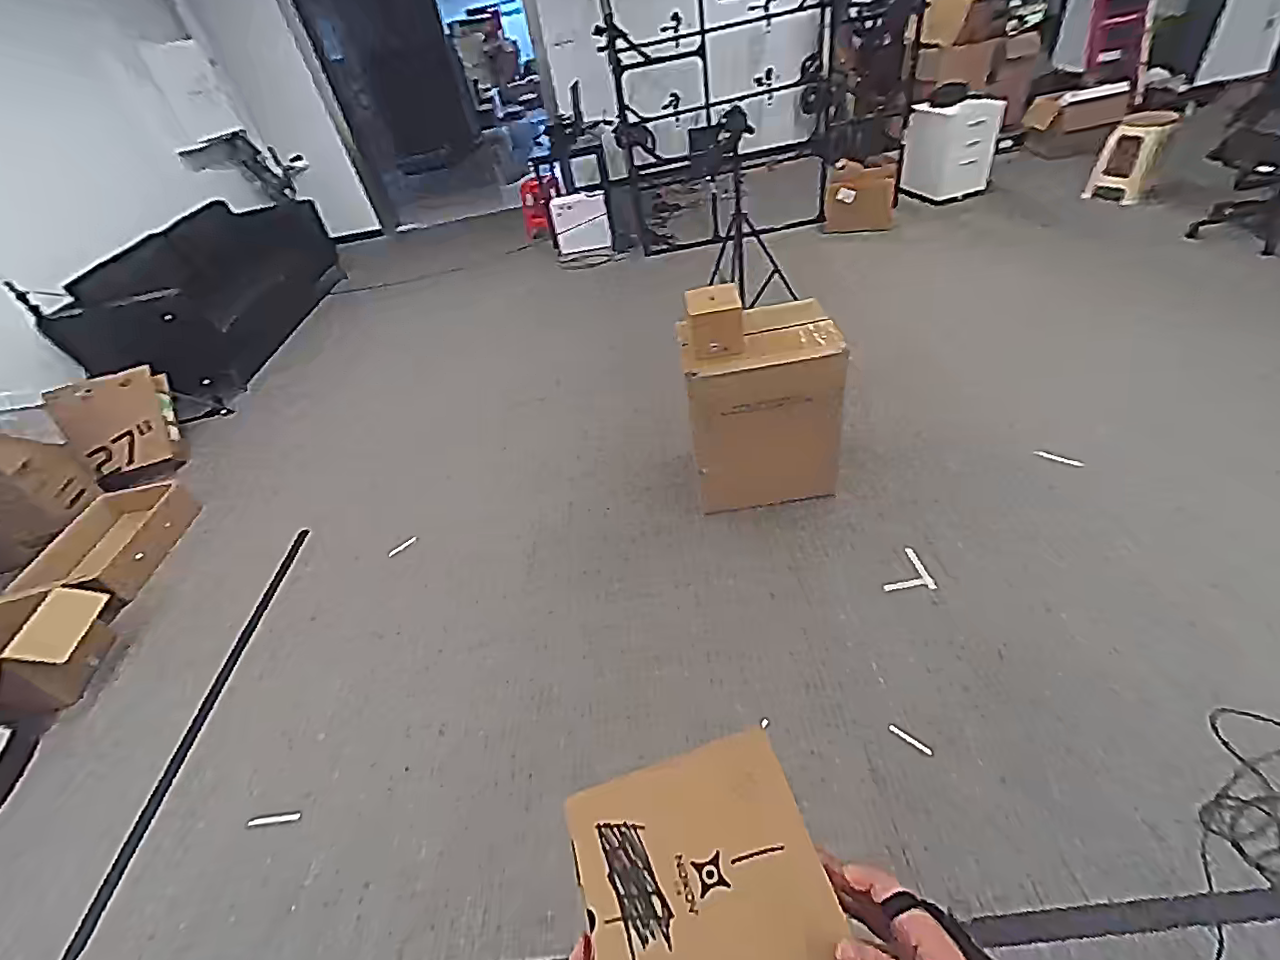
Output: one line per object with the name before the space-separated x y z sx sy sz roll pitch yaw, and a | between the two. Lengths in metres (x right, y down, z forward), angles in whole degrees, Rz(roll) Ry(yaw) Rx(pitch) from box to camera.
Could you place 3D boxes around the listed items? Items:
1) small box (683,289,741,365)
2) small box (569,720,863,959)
small box | 0.238 -0.506 1.789 0.168 0.176 0.179 -10 44 4
small box | 0.057 0.337 0.457 0.179 0.176 0.168 -18 49 -5
